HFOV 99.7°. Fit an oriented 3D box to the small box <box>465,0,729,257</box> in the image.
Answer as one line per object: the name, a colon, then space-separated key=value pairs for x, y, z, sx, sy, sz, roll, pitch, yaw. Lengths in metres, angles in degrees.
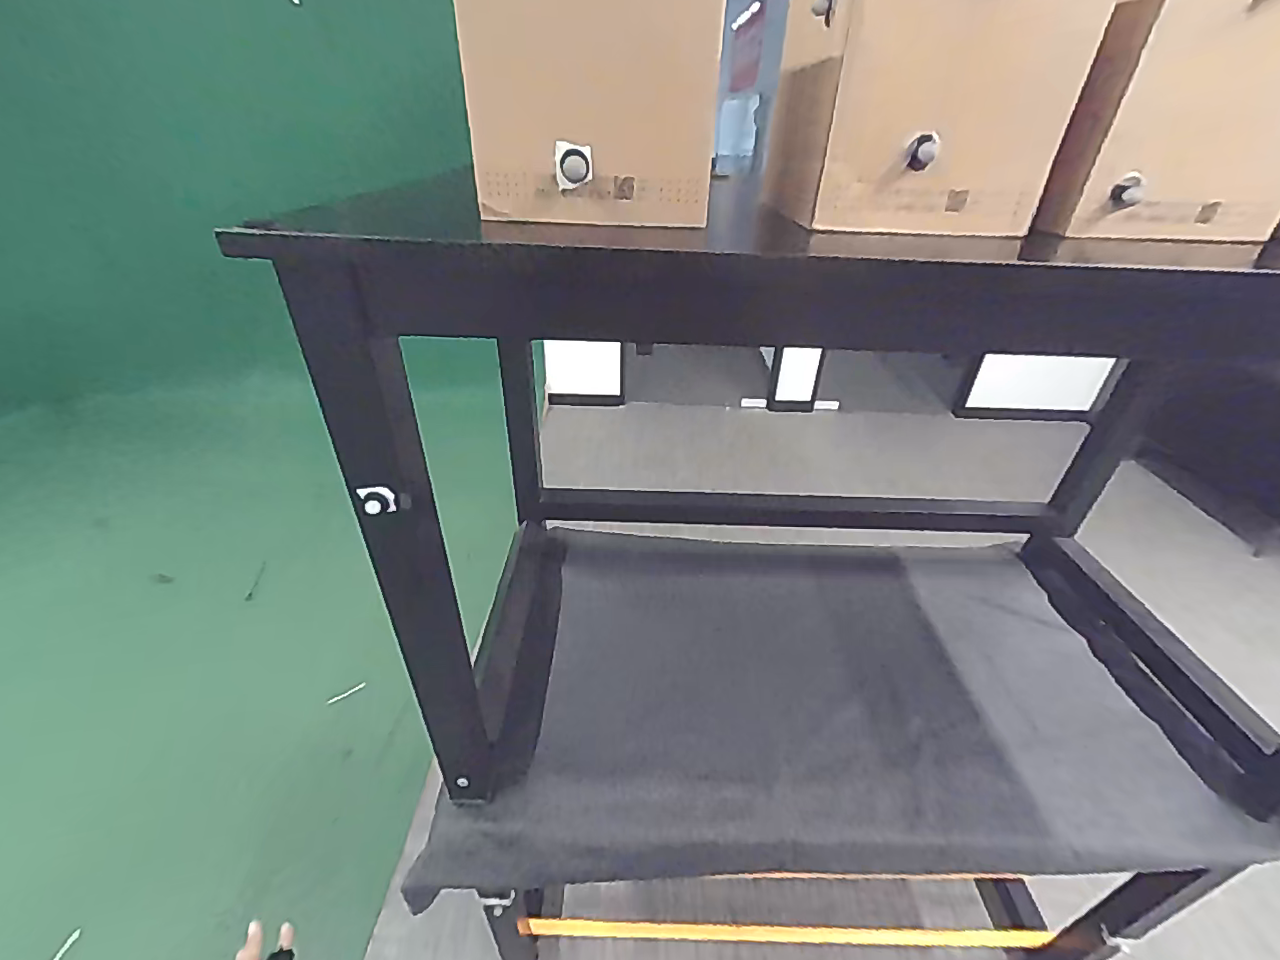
small box: x=-0.031 y=-0.285 z=0.428 sx=0.168 sy=0.176 sz=0.179 roll=0 pitch=35 yaw=-2
